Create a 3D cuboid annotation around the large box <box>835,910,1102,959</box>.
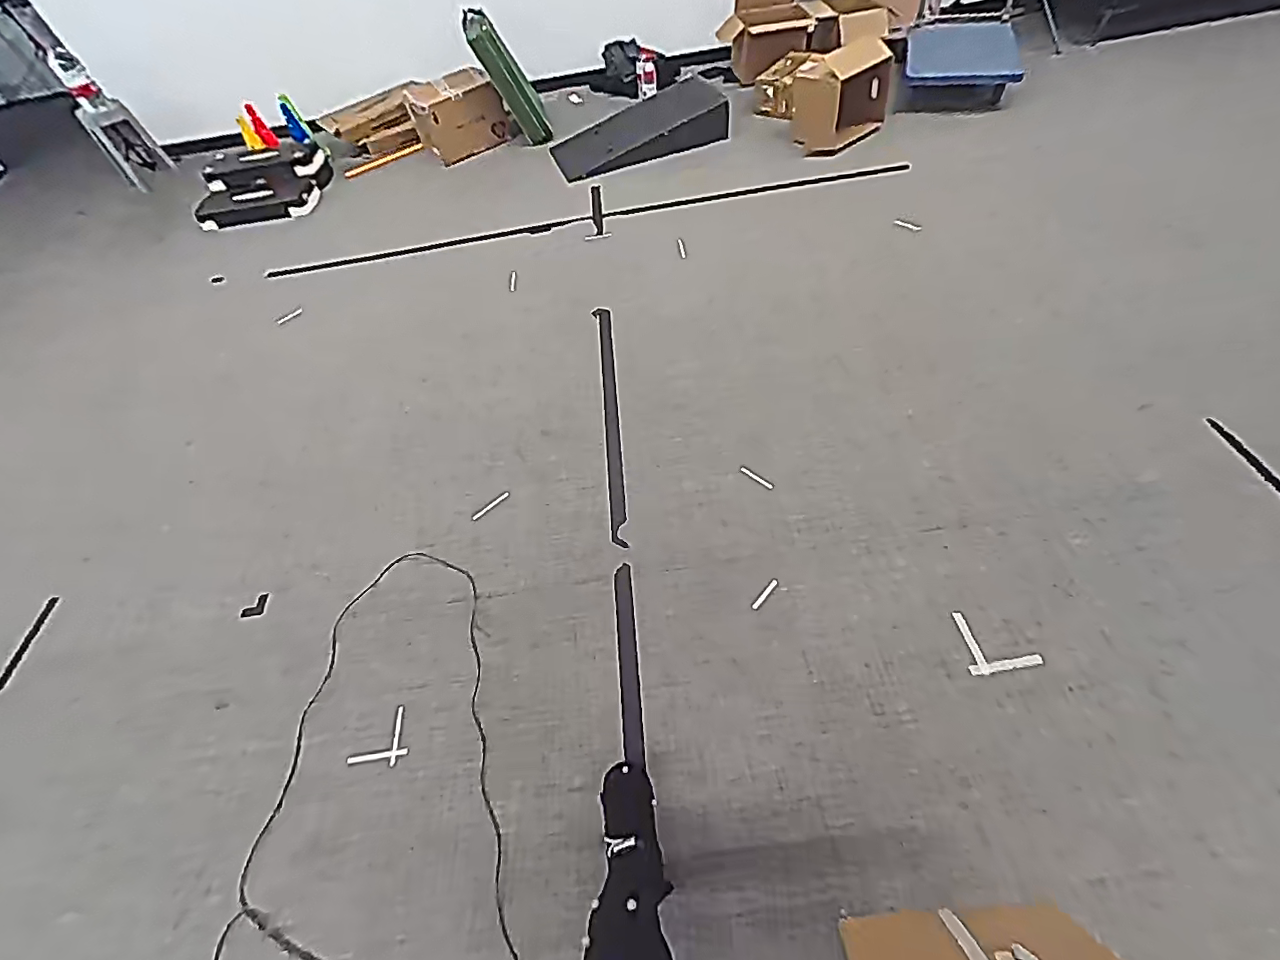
[{"bbox_3d":[0.435,0.744,0.574,0.320,0.408,0.320,-9,73,7],"label":"large box"}]
